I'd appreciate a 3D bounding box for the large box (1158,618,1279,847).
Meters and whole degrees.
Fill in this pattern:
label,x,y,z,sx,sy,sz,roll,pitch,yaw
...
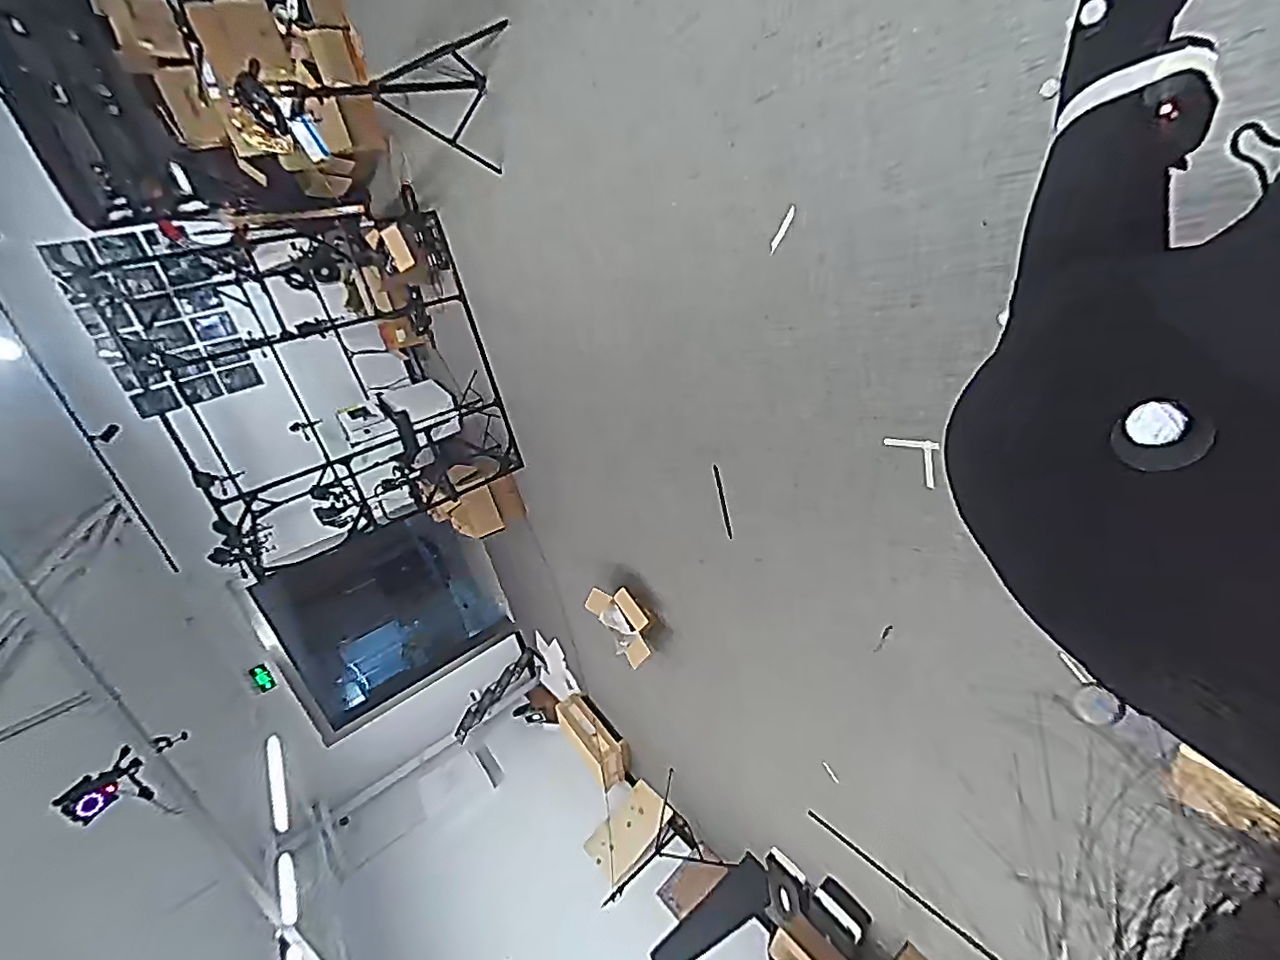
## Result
label,x,y,z,sx,sy,sz,roll,pitch,yaw
large box,1.388,0.552,1.090,0.408,0.320,0.320,25,135,47
